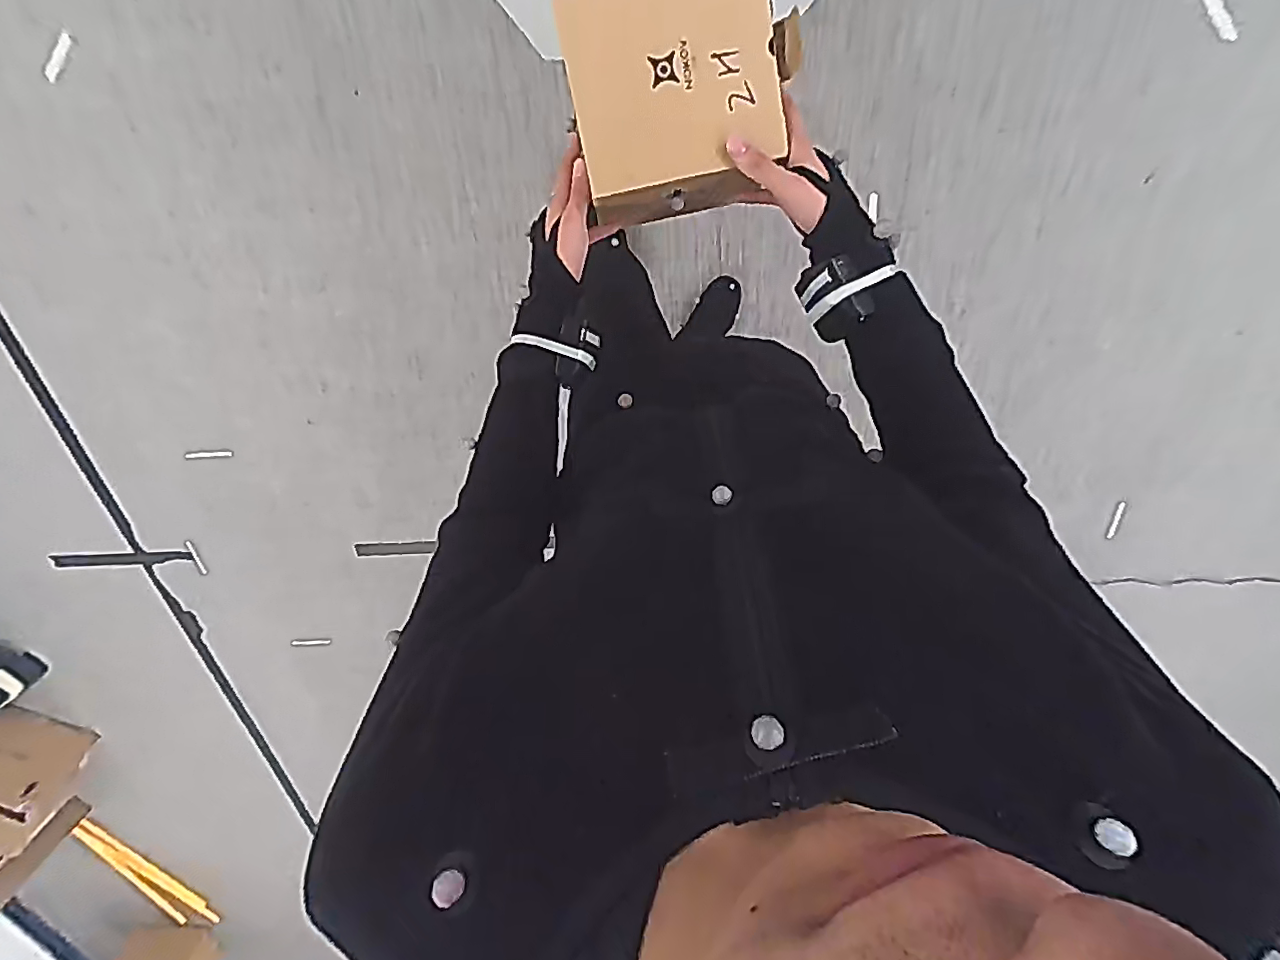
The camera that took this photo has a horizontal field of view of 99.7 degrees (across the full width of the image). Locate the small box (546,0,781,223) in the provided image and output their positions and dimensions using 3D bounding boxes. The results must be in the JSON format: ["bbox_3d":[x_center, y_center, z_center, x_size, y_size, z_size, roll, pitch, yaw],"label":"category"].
[{"bbox_3d":[0.021,-0.364,0.525,0.179,0.176,0.168,-12,106,1],"label":"small box"}]
